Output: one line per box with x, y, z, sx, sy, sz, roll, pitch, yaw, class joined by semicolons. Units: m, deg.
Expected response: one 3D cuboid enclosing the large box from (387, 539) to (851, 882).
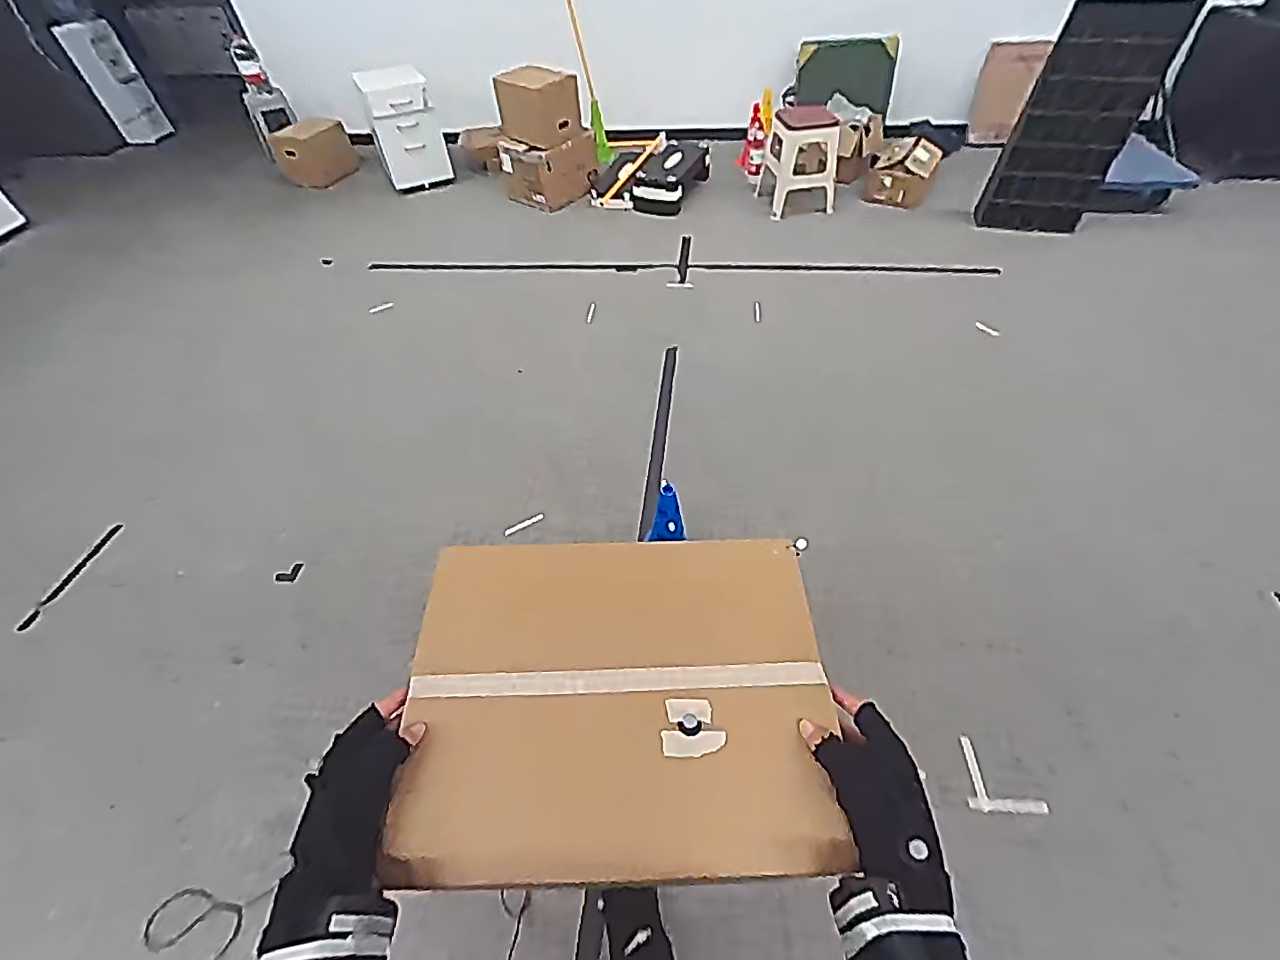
-0.022;0.287;0.663;0.408;0.320;0.320;-1;52;-1;large box
